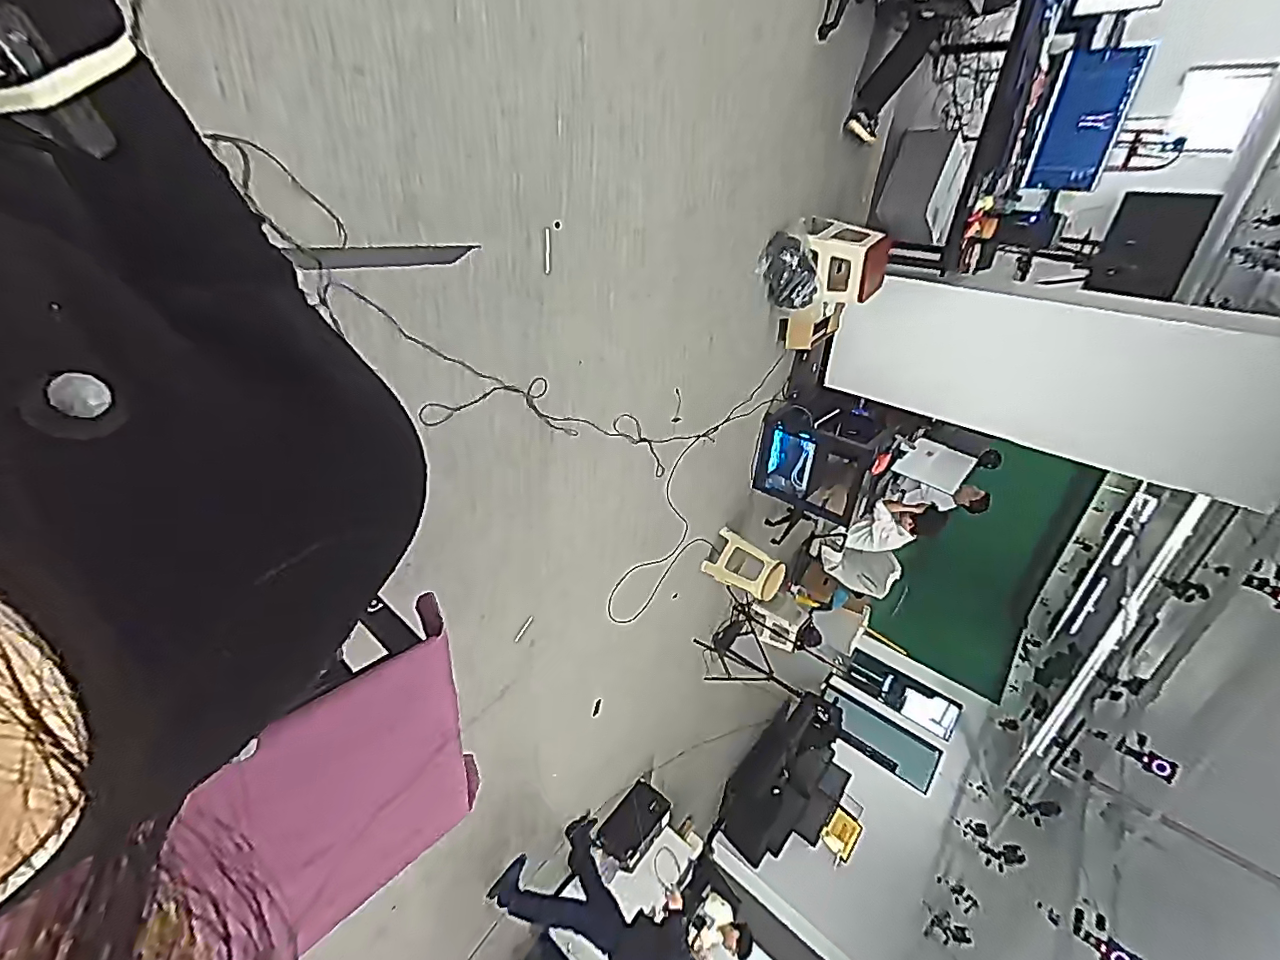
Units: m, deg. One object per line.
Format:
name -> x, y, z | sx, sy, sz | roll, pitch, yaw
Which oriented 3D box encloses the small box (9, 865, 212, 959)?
small box -> -0.711, 0.690, 0.746 | 0.168, 0.176, 0.179 | -26, 131, -47
